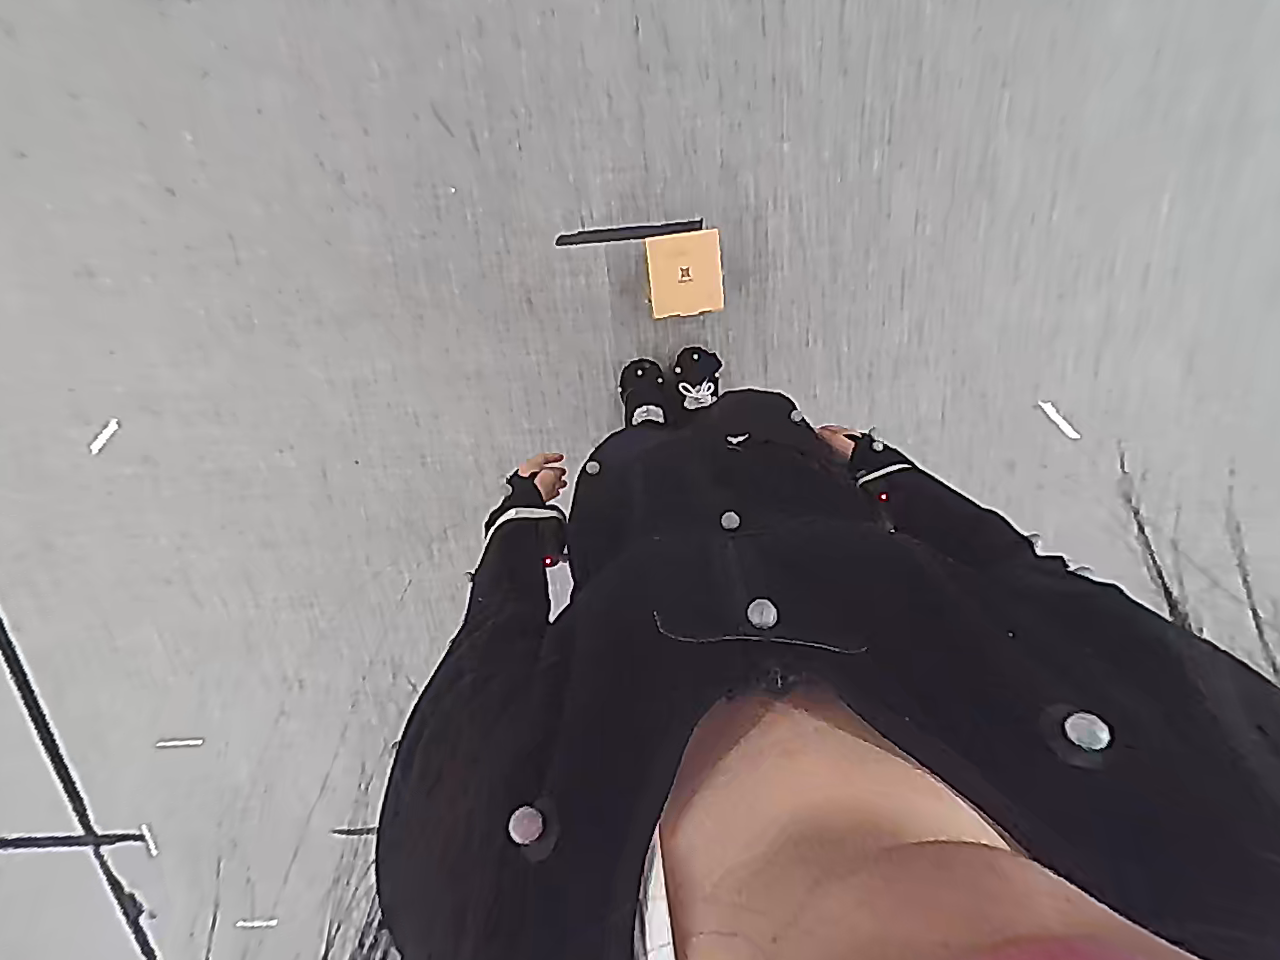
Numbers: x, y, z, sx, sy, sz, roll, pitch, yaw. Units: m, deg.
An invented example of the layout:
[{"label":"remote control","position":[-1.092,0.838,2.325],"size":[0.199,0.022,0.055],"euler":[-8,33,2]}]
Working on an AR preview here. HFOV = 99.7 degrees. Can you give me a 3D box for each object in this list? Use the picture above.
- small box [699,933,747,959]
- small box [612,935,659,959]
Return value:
[{"label":"small box","position":[0.303,1.781,1.944],"size":[0.168,0.176,0.179],"euler":[-3,107,1]},{"label":"small box","position":[-0.014,1.792,1.946],"size":[0.168,0.176,0.179],"euler":[-4,105,1]}]
